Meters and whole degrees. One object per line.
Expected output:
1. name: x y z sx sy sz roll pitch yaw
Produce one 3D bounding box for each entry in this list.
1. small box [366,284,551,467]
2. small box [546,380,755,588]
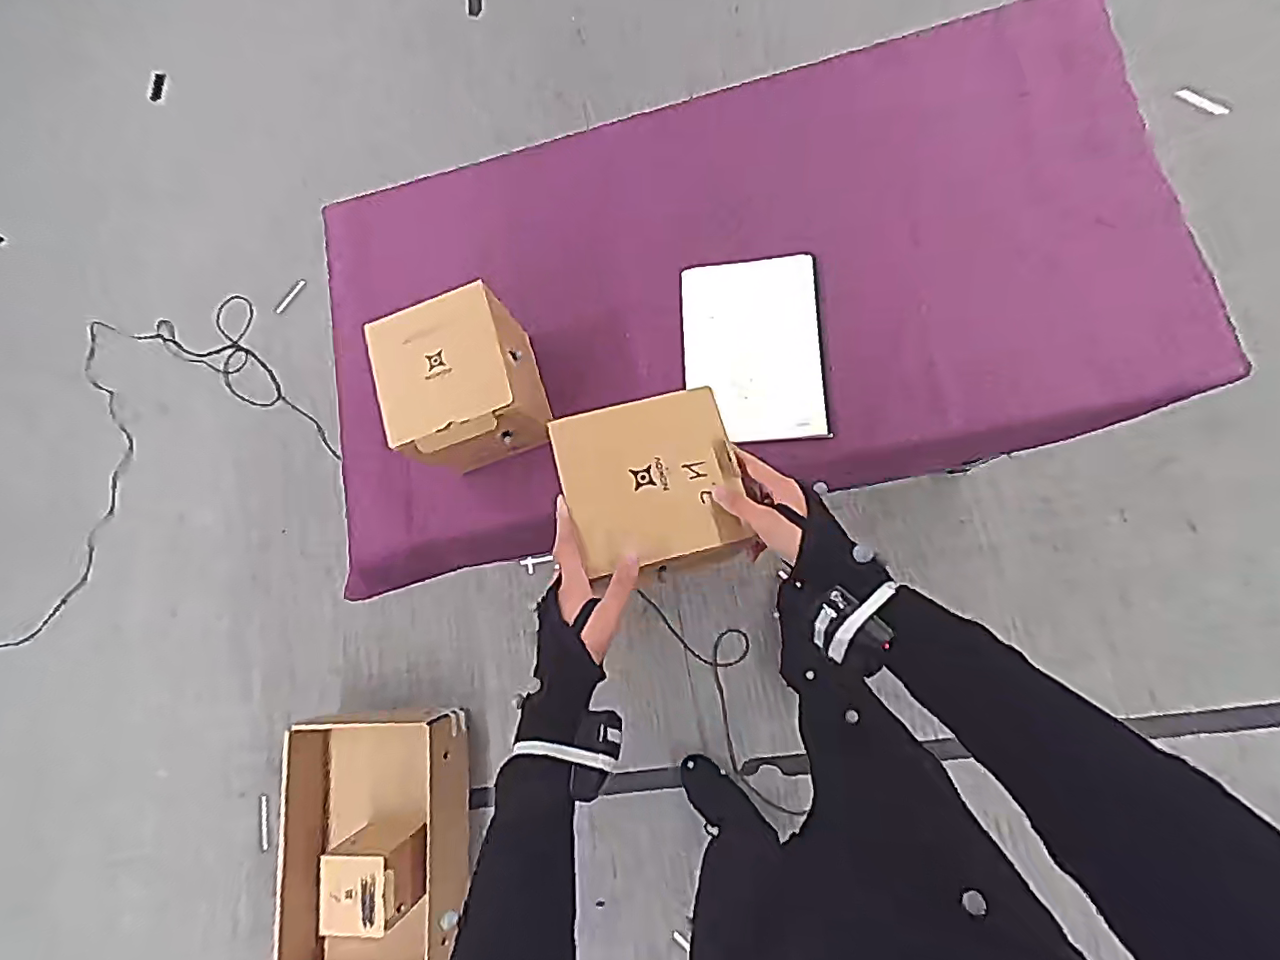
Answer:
1. small box: -0.234 -0.126 0.739 0.168 0.176 0.179 -19 78 5
2. small box: 0.006 0.015 0.605 0.179 0.176 0.168 -14 74 -7
